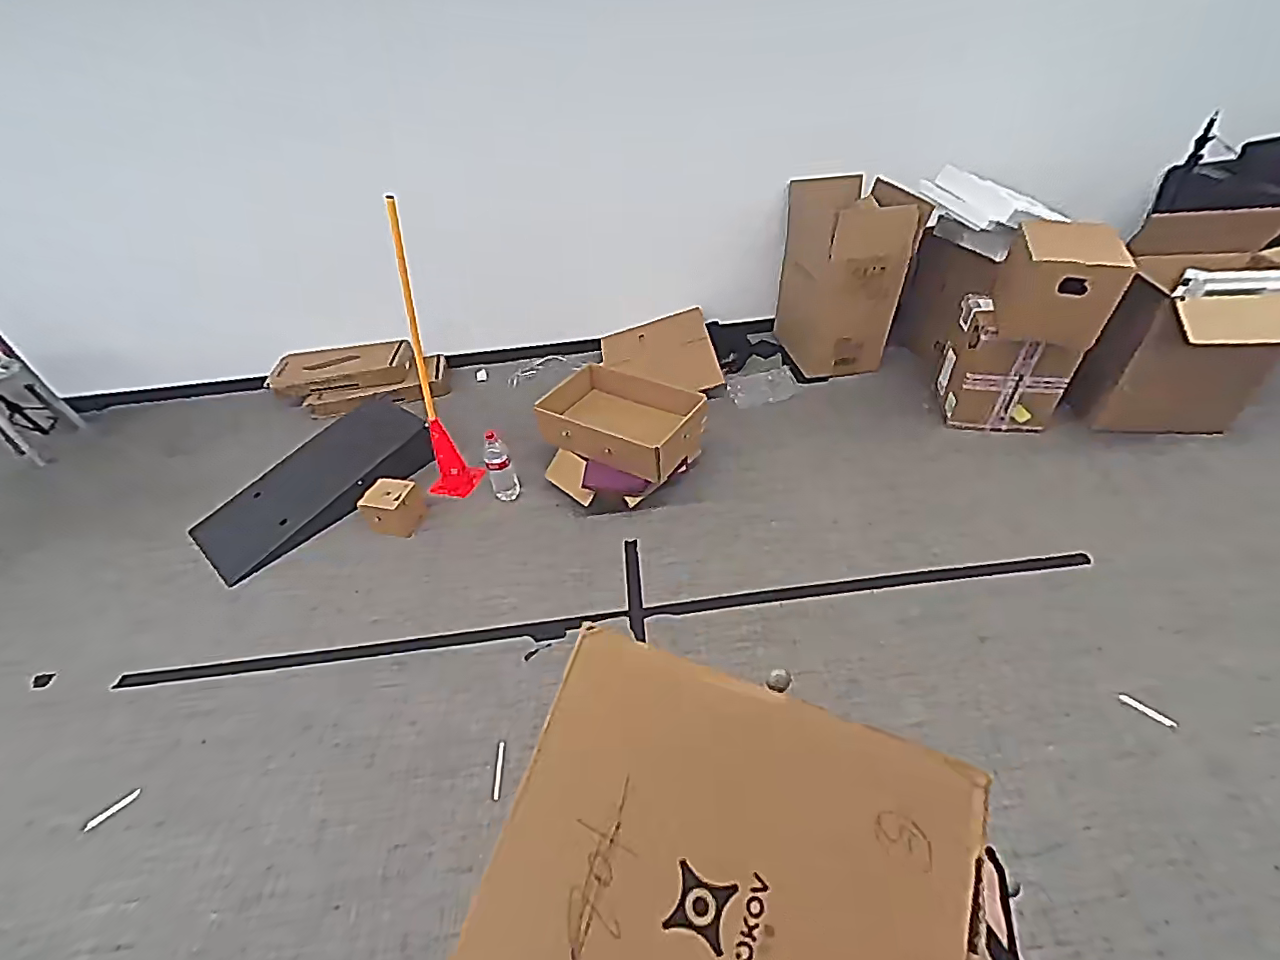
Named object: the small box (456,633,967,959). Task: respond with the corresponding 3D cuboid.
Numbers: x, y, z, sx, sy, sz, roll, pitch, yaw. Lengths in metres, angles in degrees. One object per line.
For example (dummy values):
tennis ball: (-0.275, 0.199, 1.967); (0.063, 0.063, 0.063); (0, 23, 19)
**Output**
small box: (0.037, 0.199, 0.285); (0.179, 0.176, 0.168); (15, 68, 17)
